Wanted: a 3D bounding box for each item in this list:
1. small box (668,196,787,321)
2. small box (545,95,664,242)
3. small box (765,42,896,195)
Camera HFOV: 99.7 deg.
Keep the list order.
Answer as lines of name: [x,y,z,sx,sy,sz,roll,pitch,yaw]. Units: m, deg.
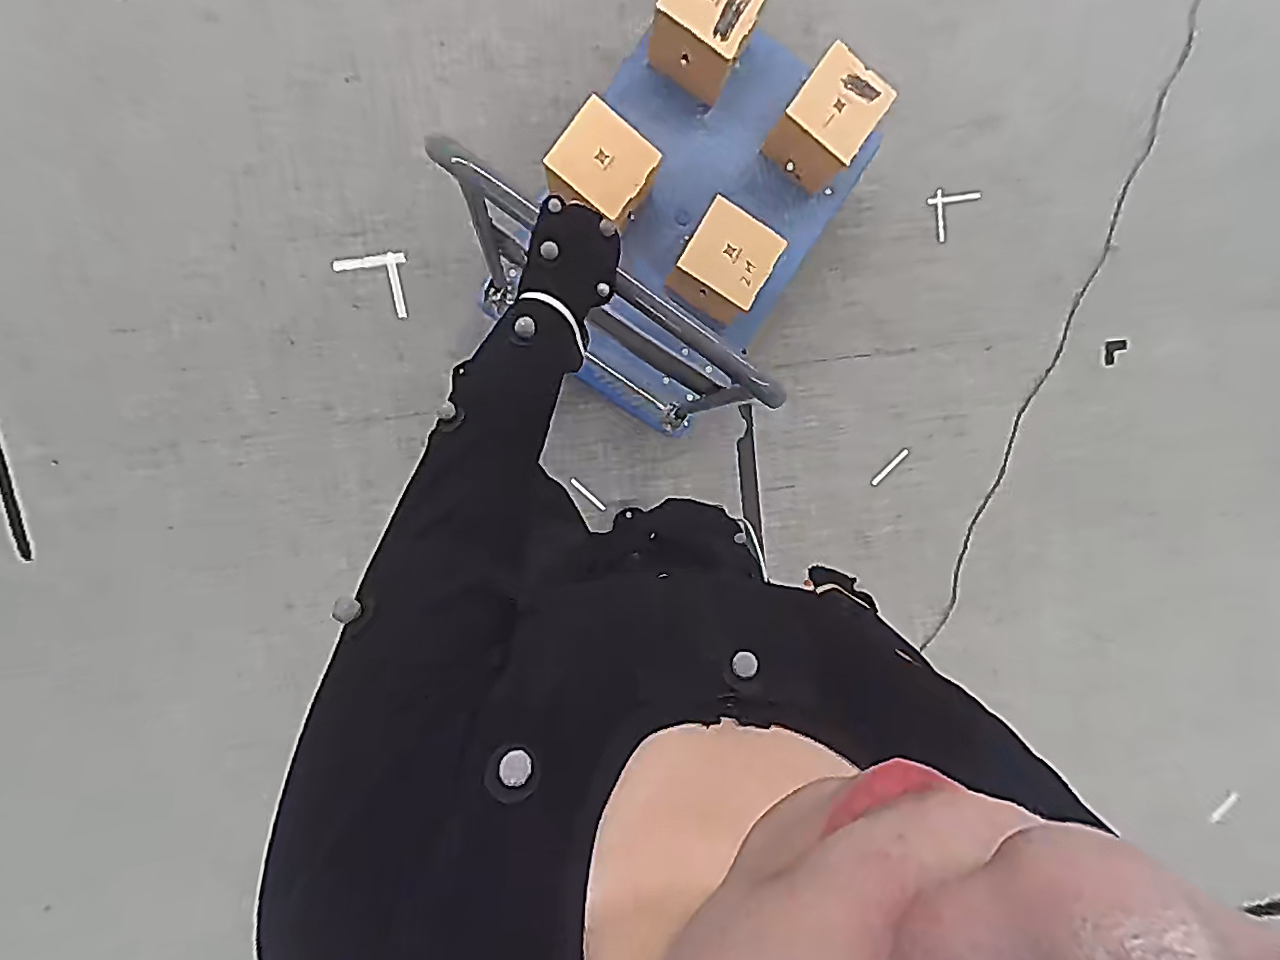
small box: [0.179,-0.466,1.173,0.179,0.176,0.168,31,92,-8]
small box: [-0.078,-0.632,1.127,0.179,0.176,0.168,37,91,-10]
small box: [0.397,-0.764,1.163,0.168,0.176,0.179,35,93,-9]
